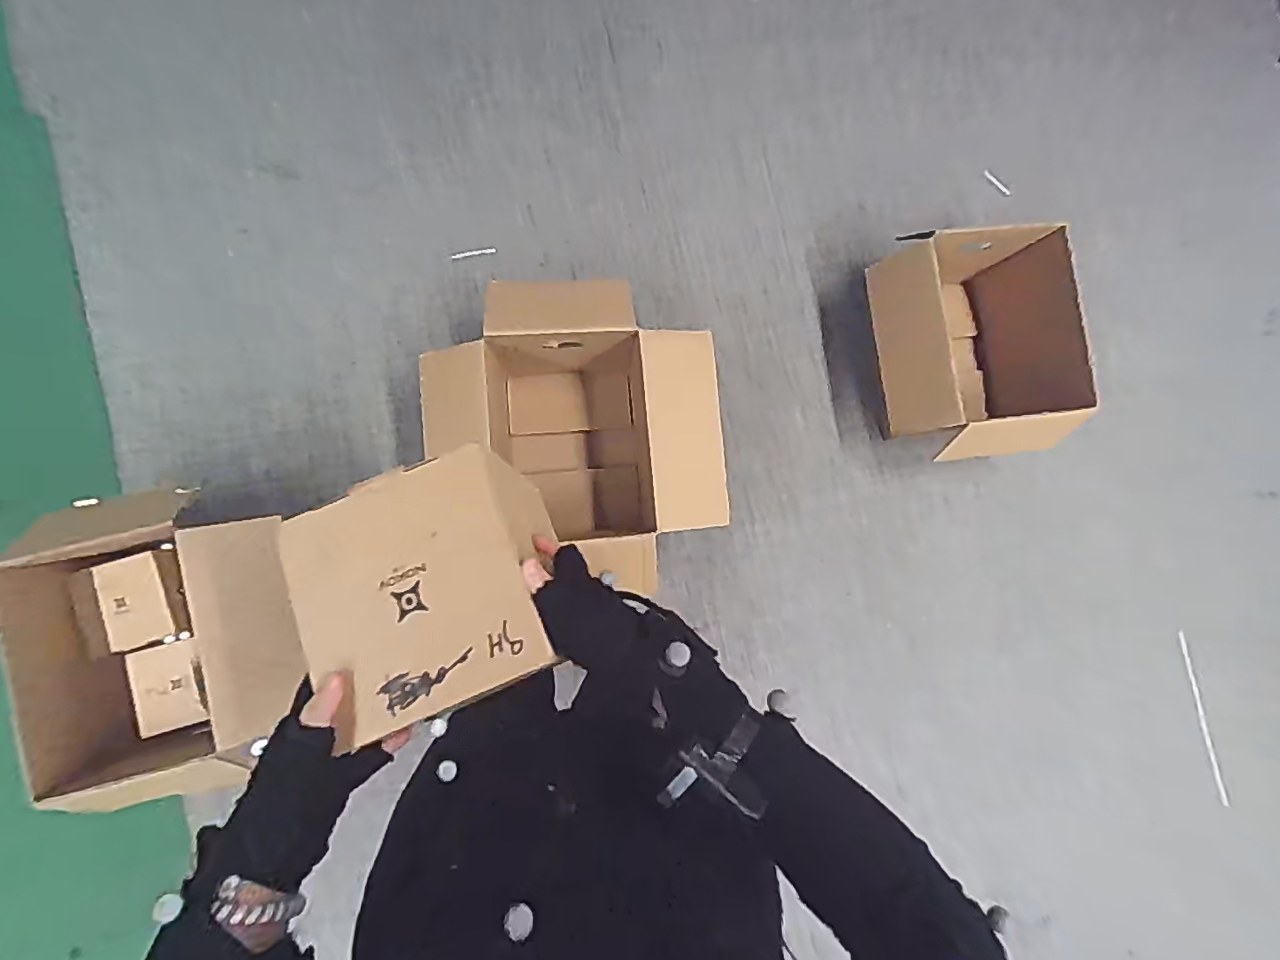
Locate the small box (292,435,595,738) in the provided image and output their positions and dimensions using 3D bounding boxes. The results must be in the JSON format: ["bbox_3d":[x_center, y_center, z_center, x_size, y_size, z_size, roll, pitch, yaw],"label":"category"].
[{"bbox_3d":[-0.152,0.091,0.466,0.168,0.176,0.179,-23,74,-1],"label":"small box"}]
